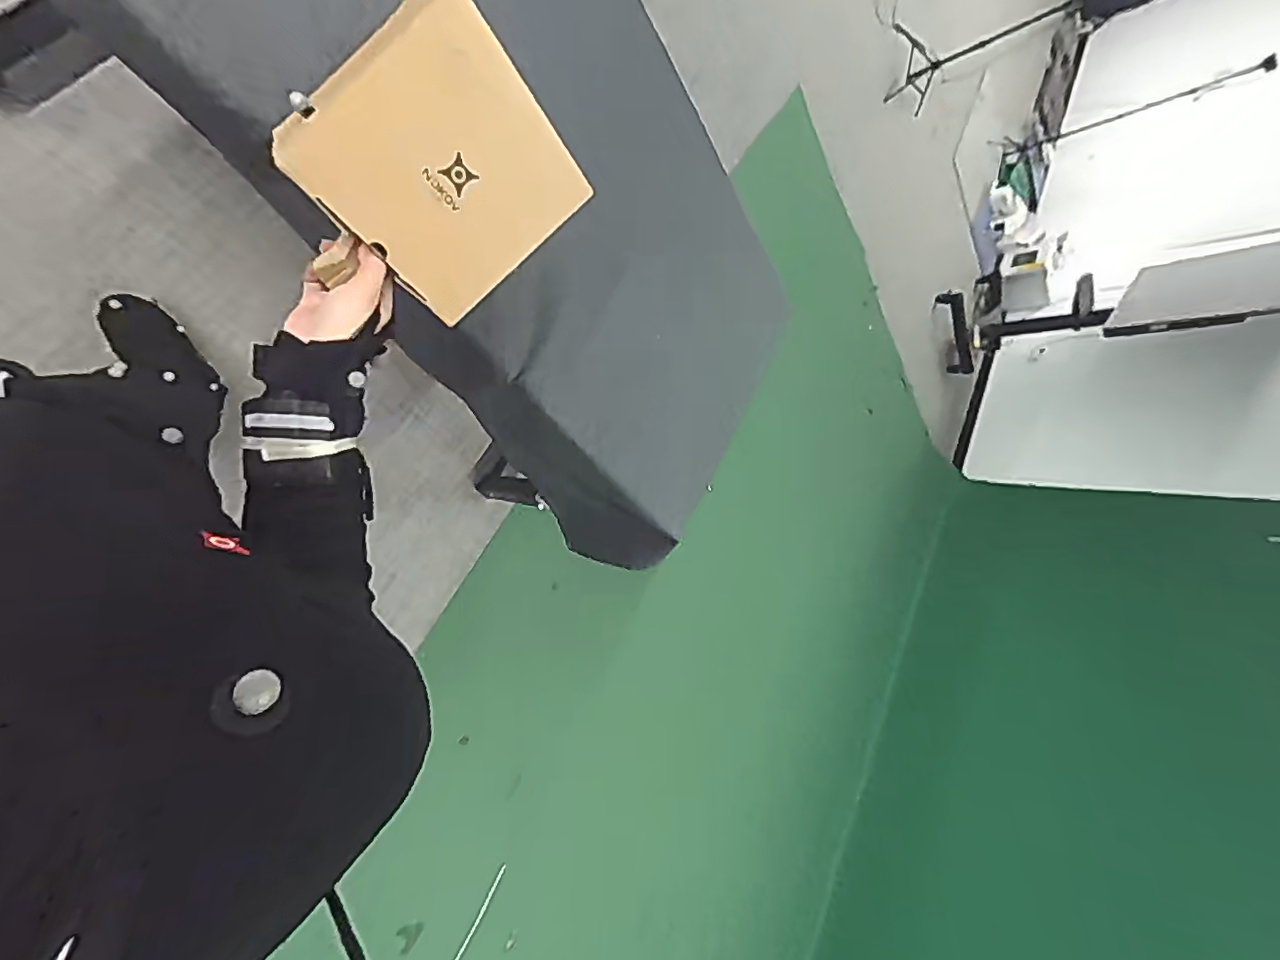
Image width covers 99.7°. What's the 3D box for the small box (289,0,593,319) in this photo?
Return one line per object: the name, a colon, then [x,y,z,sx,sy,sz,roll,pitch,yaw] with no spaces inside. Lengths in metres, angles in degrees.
small box: [-0.179,-0.285,0.477,0.179,0.176,0.168,-42,137,4]
